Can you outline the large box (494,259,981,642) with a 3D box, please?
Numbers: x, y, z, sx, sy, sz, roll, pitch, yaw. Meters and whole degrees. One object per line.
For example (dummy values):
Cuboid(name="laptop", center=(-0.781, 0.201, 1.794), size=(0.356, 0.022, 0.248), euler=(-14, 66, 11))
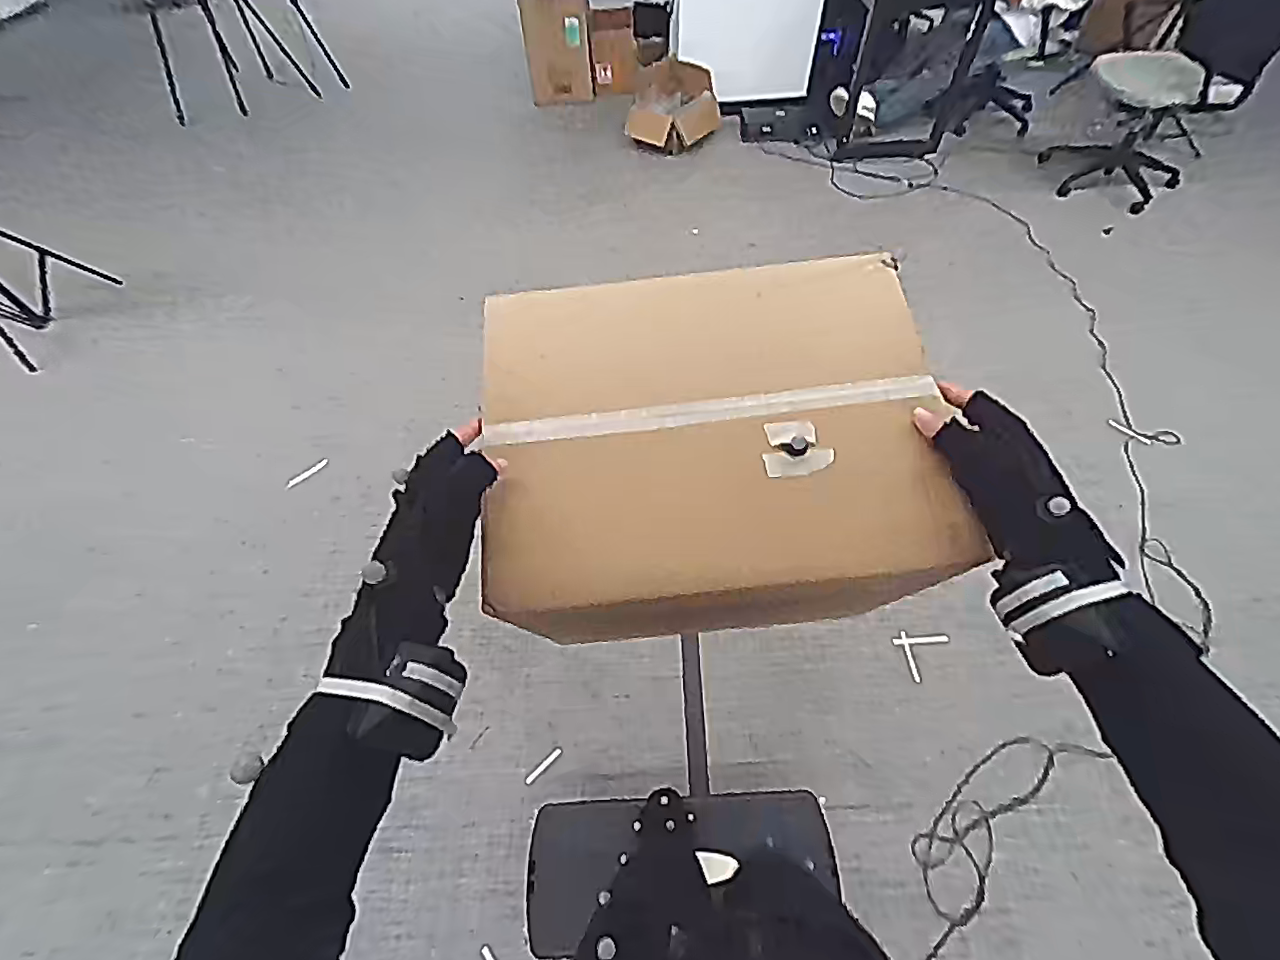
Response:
Cuboid(name="large box", center=(0.070, -0.006, 0.628), size=(0.408, 0.320, 0.320), euler=(-6, 69, 0))
